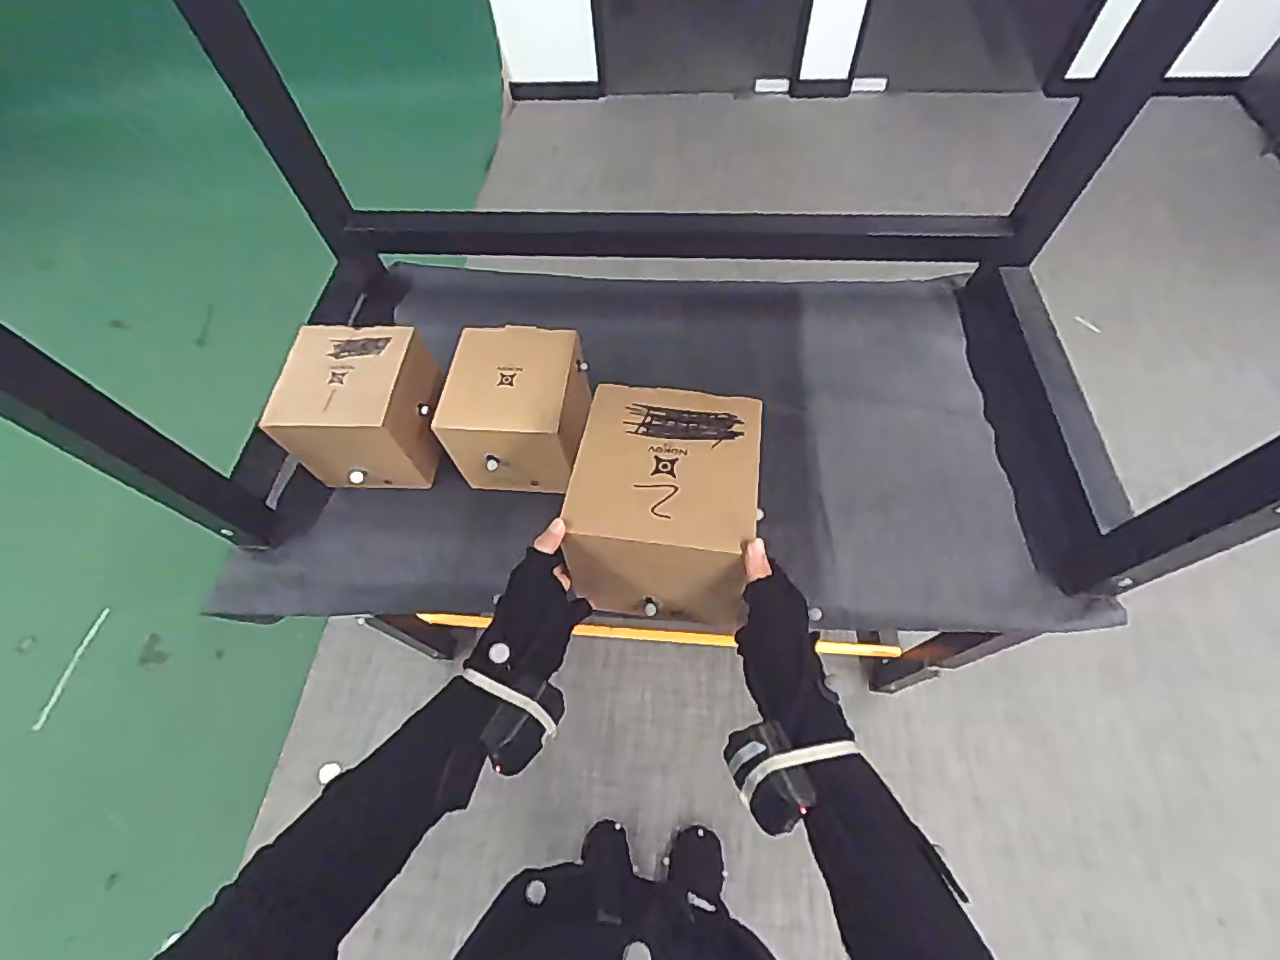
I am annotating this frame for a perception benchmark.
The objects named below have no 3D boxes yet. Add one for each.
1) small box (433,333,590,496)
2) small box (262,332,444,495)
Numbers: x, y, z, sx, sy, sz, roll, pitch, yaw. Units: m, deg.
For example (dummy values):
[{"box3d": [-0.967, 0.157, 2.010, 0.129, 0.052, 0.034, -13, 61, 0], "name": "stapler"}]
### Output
[{"box3d": [-0.171, -0.089, 0.785, 0.168, 0.176, 0.179, 3, 59, 5], "name": "small box"}, {"box3d": [-0.397, -0.095, 0.798, 0.168, 0.176, 0.179, 1, 60, 4], "name": "small box"}]
